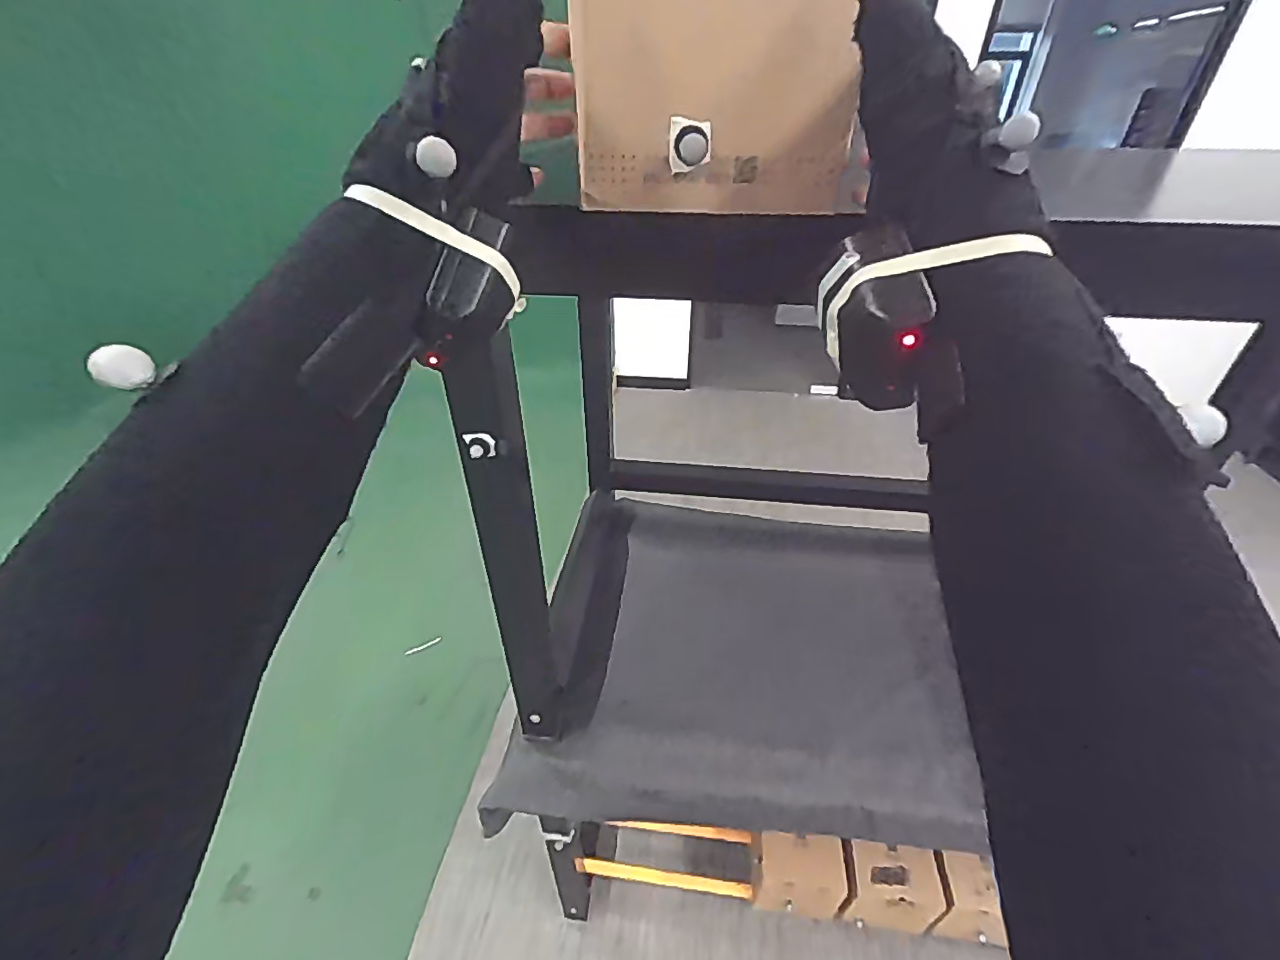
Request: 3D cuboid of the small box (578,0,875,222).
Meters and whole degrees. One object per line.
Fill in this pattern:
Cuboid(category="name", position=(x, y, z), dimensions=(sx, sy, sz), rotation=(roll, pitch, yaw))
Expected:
Cuboid(category="small box", position=(0.047, -0.286, 0.375), dimensions=(0.168, 0.176, 0.179), rotation=(0, 35, 1))
